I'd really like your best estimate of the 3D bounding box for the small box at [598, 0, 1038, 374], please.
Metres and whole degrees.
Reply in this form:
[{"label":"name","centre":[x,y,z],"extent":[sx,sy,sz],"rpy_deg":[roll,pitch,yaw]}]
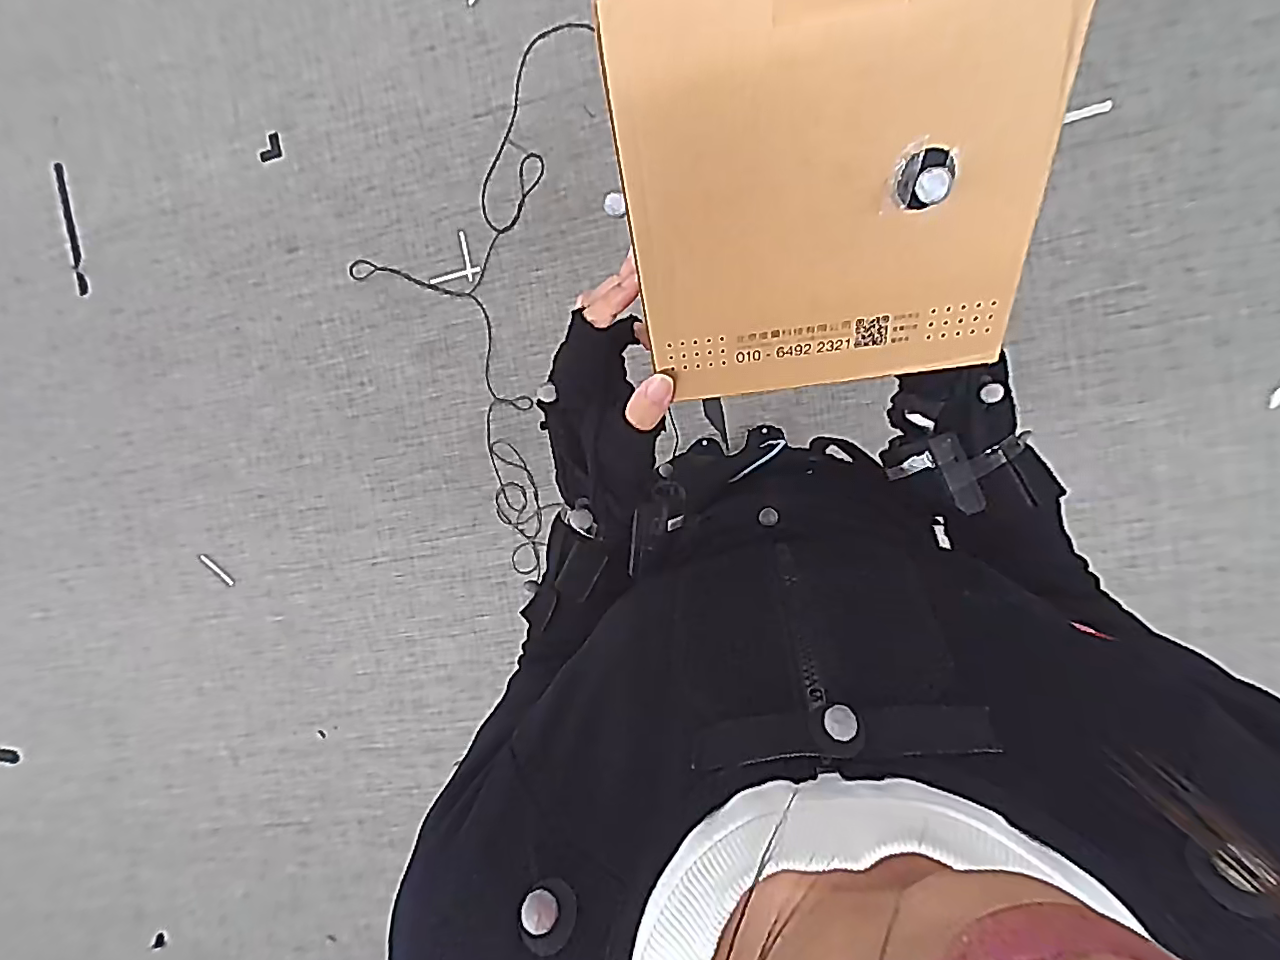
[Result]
[{"label":"small box","centre":[0.084,-0.170,0.303],"extent":[0.168,0.179,0.176],"rpy_deg":[-5,129,9]}]
